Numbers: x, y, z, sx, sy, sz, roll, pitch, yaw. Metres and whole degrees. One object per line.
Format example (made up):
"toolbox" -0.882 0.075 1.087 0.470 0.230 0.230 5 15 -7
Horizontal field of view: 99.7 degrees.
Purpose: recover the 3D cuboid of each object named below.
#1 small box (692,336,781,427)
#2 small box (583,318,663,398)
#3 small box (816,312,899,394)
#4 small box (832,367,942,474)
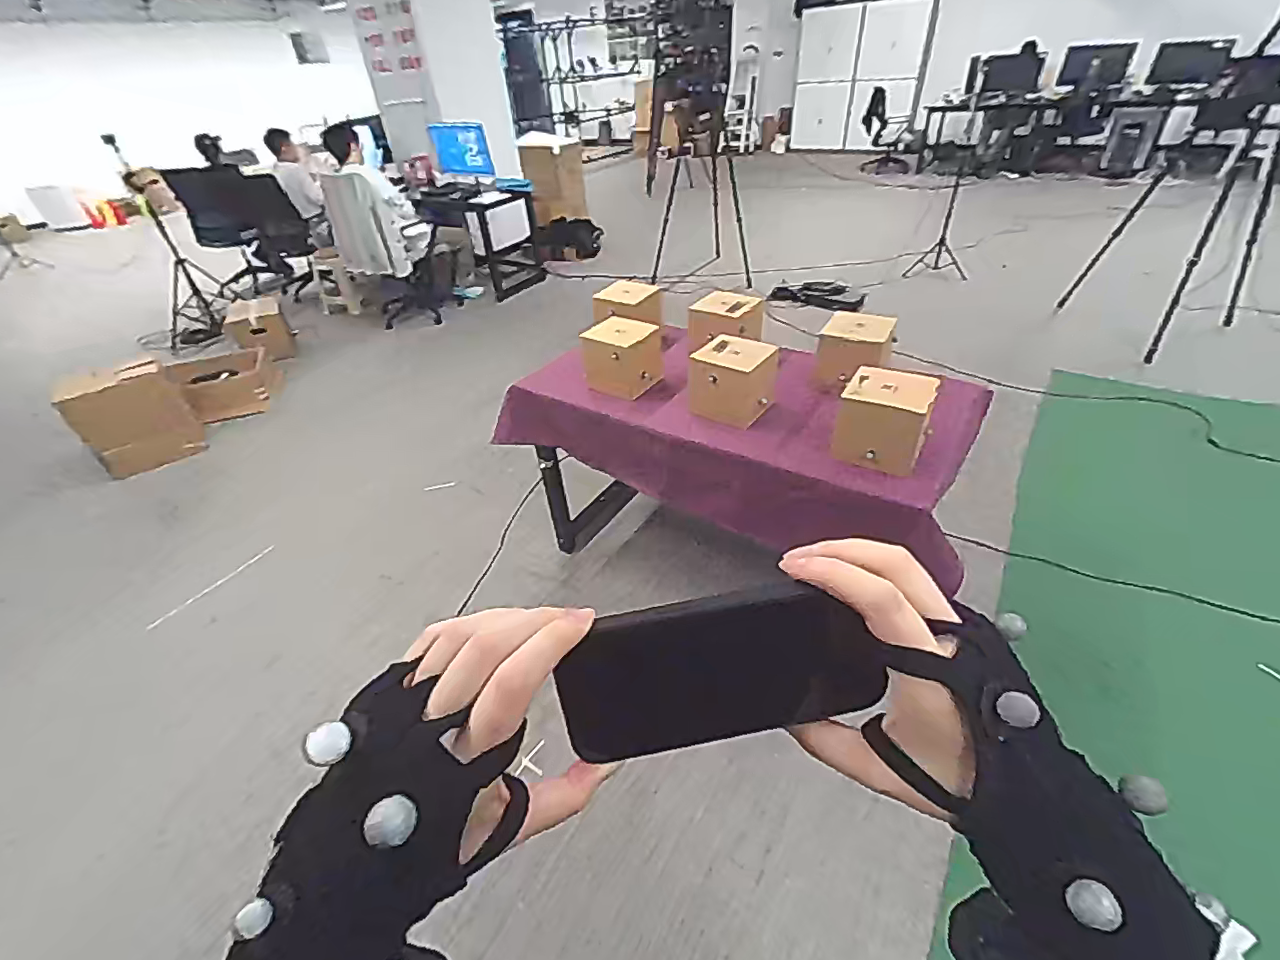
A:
"small box" 0.252 -0.263 1.440 0.179 0.176 0.168 23 46 30
"small box" -0.046 -0.361 1.600 0.179 0.176 0.168 22 45 29
"small box" 0.601 -0.349 1.507 0.168 0.176 0.179 18 44 27
"small box" 0.561 -0.134 1.238 0.179 0.176 0.168 19 44 28
